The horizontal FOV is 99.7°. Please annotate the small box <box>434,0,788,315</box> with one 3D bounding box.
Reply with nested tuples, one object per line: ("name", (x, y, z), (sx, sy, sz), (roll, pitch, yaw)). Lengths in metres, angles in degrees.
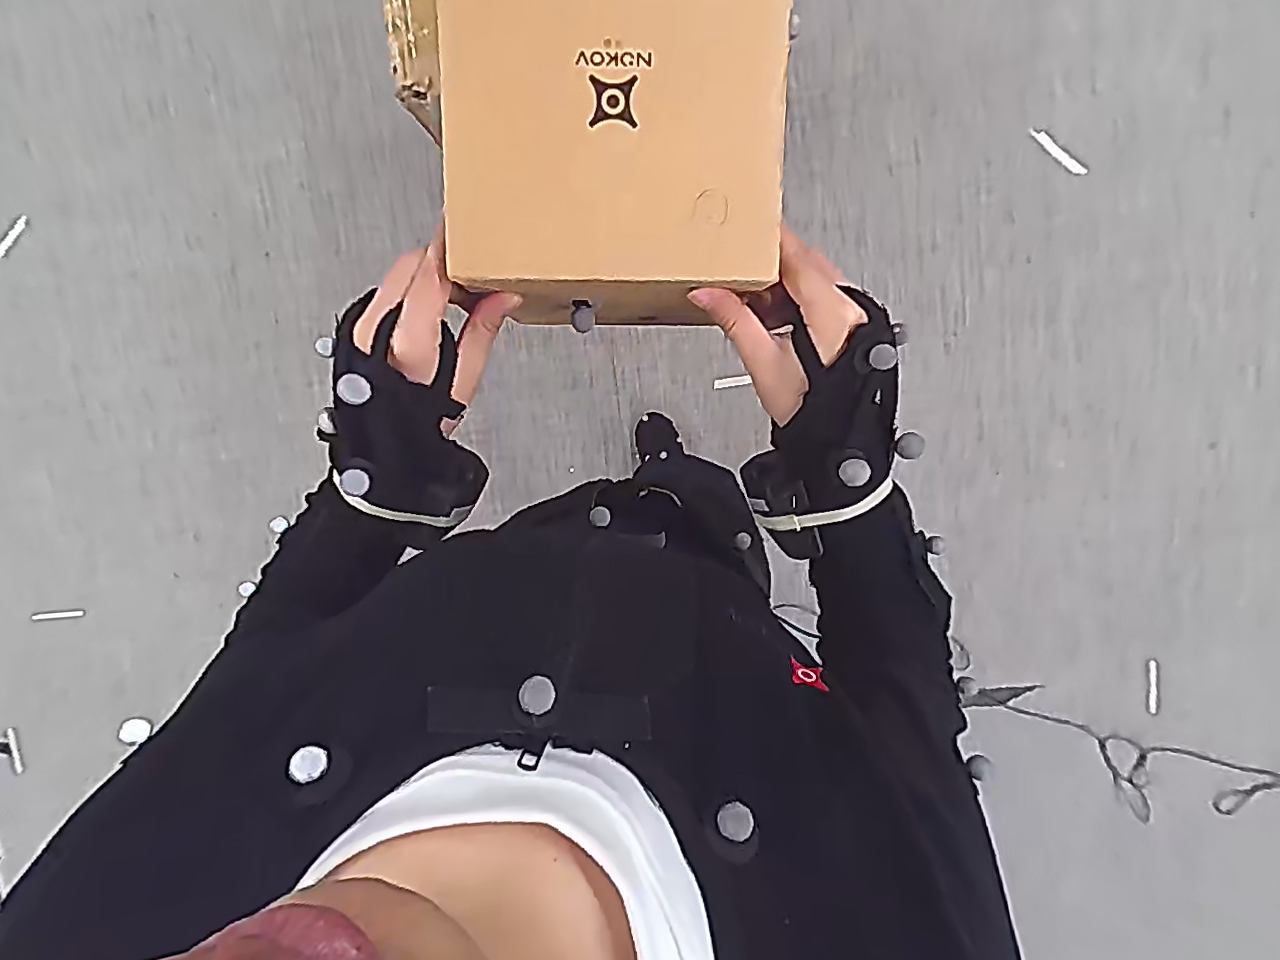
("small box", (-0.012, -0.202, 0.331), (0.168, 0.176, 0.179), (-1, 96, 0))
